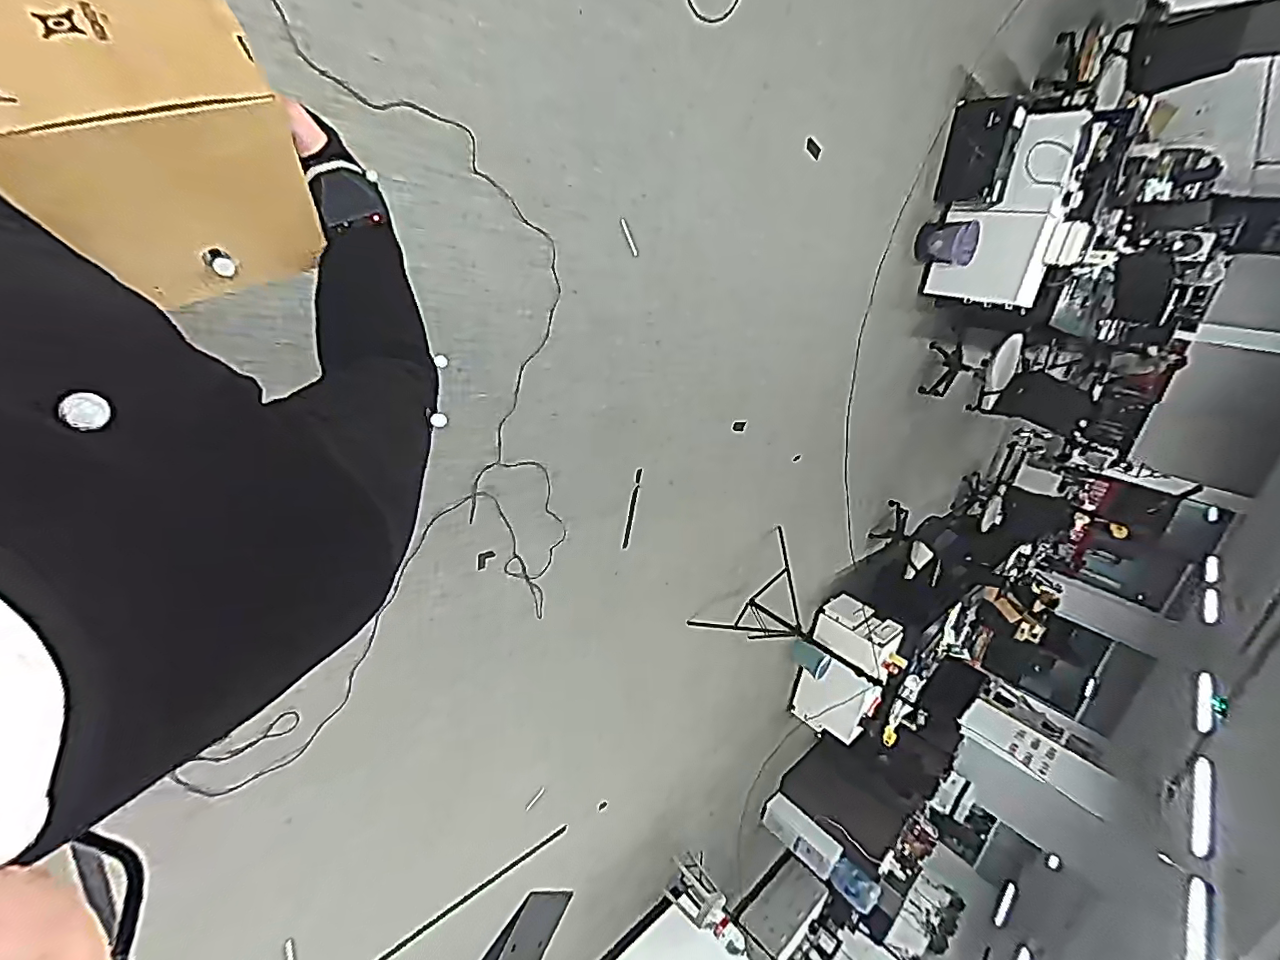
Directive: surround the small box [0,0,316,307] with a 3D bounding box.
[{"bbox_3d":[-0.394,-0.275,0.441,0.179,0.168,0.176,-29,170,-25],"label":"small box"}]
